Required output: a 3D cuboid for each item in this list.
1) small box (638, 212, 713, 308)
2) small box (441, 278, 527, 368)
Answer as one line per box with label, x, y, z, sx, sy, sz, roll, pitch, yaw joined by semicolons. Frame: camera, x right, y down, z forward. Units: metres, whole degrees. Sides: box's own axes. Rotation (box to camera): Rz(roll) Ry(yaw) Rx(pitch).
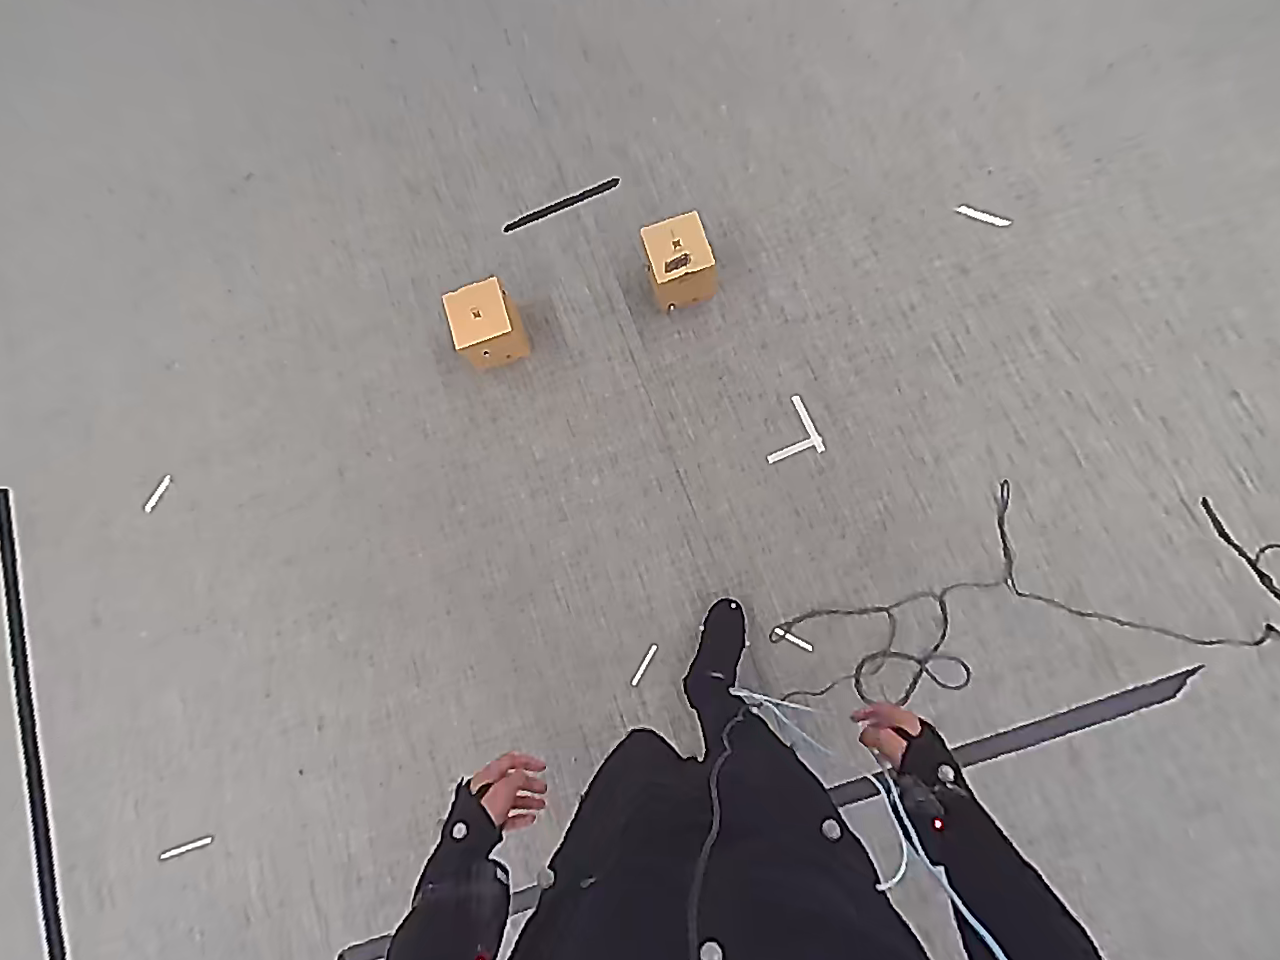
small box;0.103;-0.610;1.530;0.168;0.176;0.179;-17;78;2
small box;-0.444;-0.441;1.562;0.168;0.176;0.179;-19;78;3
